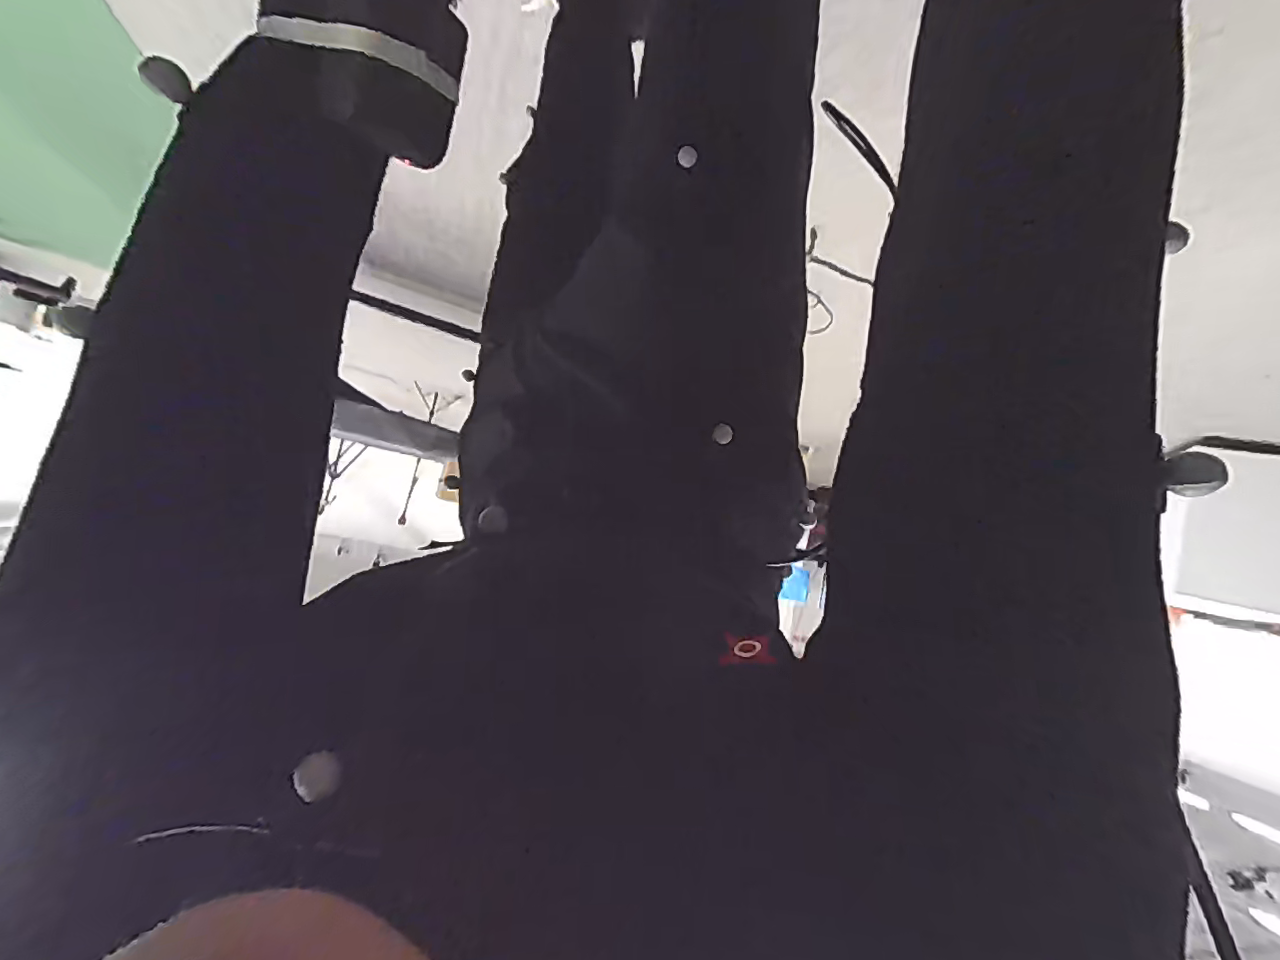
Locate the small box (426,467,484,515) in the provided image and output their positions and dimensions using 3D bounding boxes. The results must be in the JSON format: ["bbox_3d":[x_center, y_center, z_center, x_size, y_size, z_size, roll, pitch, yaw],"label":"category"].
[{"bbox_3d":[-0.764,0.043,2.233,0.179,0.176,0.168,15,174,-27],"label":"small box"}]
